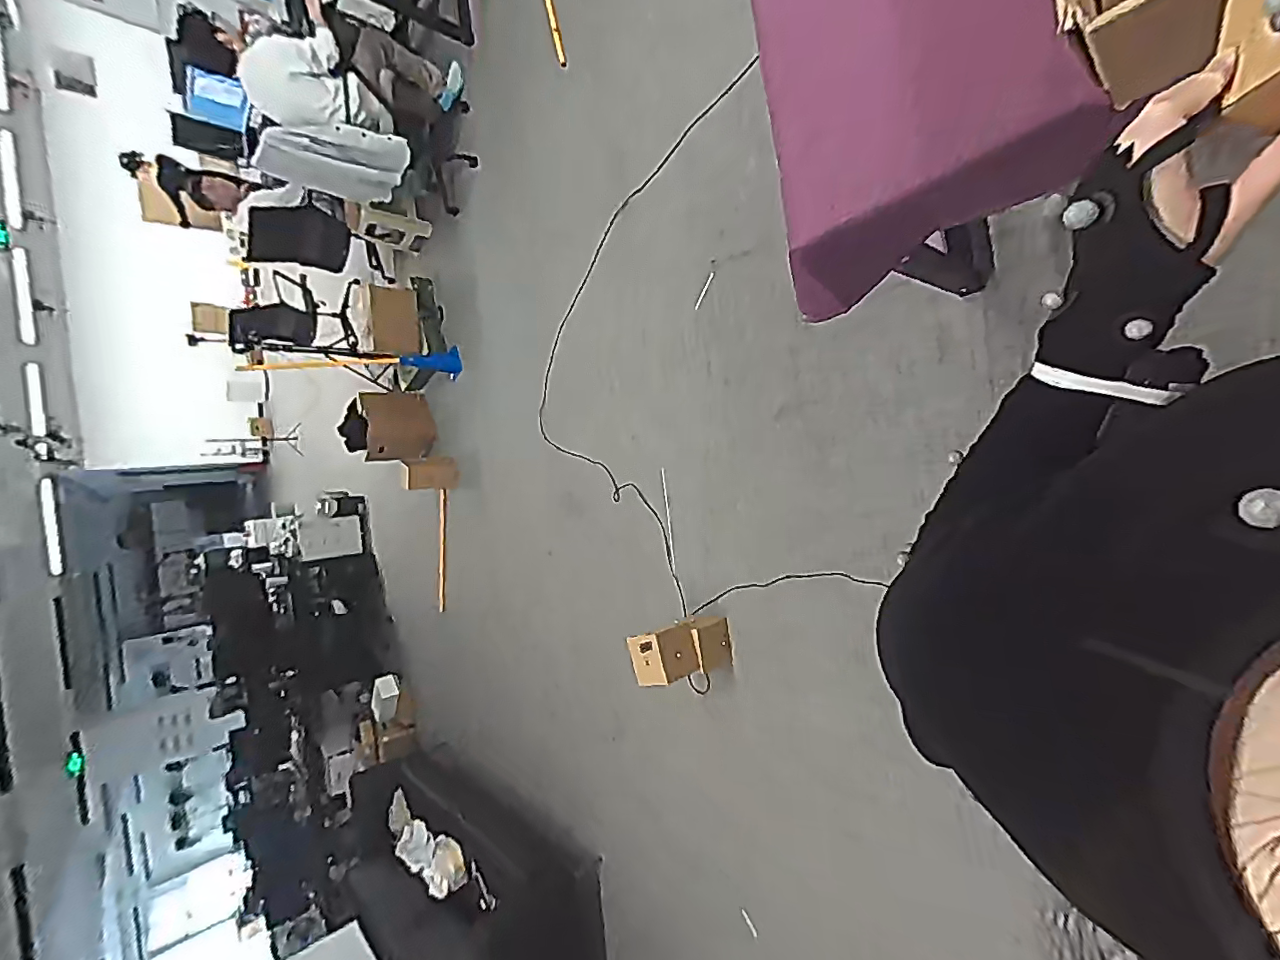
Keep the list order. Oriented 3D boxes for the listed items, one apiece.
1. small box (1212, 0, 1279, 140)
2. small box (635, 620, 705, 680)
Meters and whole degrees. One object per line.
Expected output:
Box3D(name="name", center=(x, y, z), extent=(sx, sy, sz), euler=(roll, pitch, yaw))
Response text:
Box3D(name="small box", center=(0.391, -0.255, 0.200), extent=(0.168, 0.179, 0.176), euler=(10, 92, 3))
Box3D(name="small box", center=(0.111, 0.613, 1.963), extent=(0.168, 0.176, 0.179), euler=(-24, 77, 48))
